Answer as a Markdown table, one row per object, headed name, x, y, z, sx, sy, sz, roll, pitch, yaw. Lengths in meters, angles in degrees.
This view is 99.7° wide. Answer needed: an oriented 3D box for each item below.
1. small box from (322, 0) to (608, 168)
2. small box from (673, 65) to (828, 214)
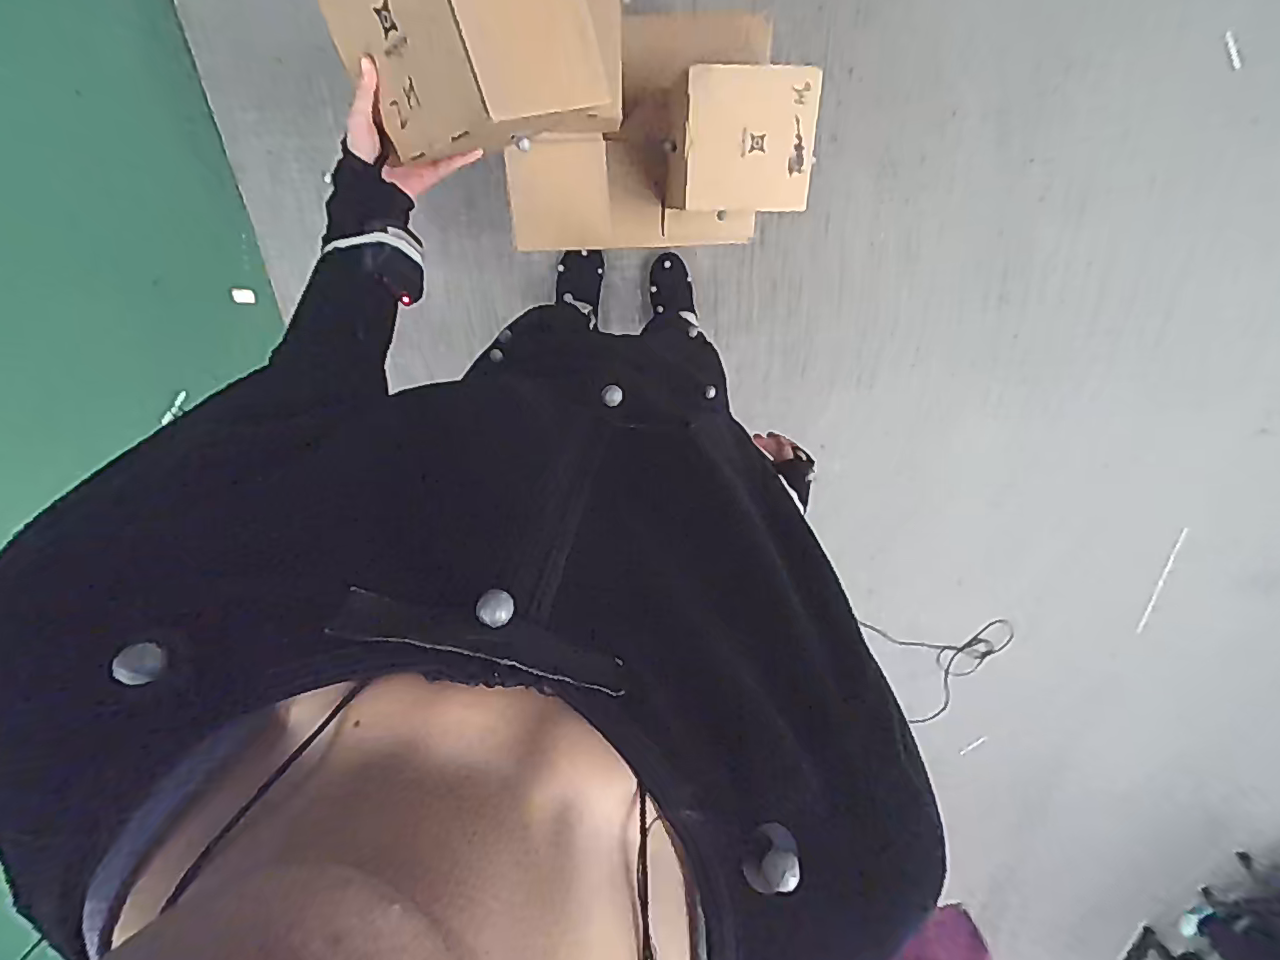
| name | x | y | z | sx | sy | sz | roll | pitch | yaw |
| --- | --- | --- | --- | --- | --- | --- | --- | --- | --- |
| small box | -0.158 | -0.416 | 0.500 | 0.168 | 0.176 | 0.179 | 10 | 130 | 40 |
| small box | 0.144 | -0.479 | 0.780 | 0.179 | 0.176 | 0.168 | -2 | 119 | -4 |
